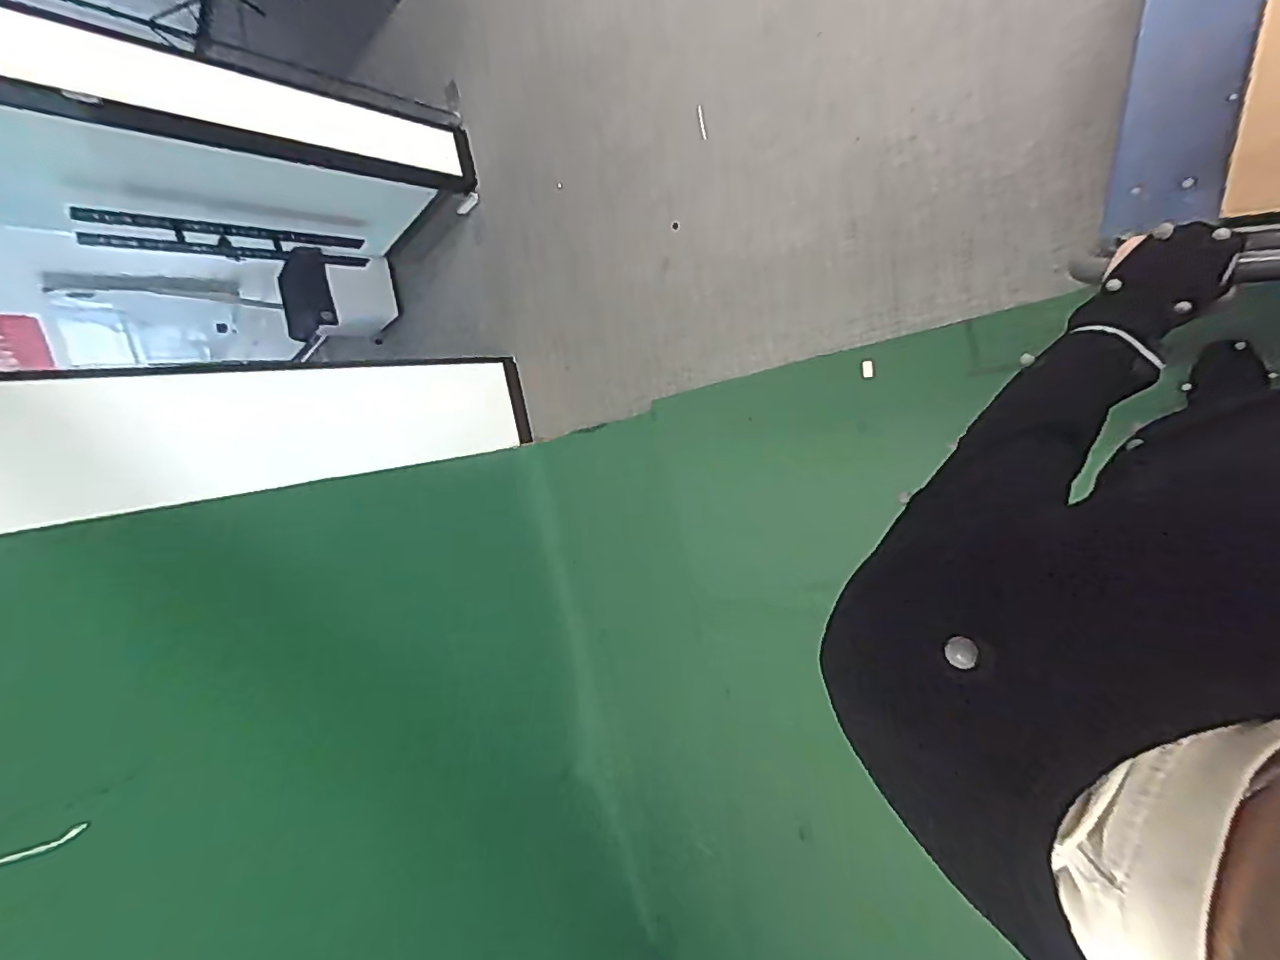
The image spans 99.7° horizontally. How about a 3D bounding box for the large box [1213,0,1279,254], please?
[{"bbox_3d":[1.040,-0.561,0.738,0.320,0.320,0.408,11,107,42],"label":"large box"}]
